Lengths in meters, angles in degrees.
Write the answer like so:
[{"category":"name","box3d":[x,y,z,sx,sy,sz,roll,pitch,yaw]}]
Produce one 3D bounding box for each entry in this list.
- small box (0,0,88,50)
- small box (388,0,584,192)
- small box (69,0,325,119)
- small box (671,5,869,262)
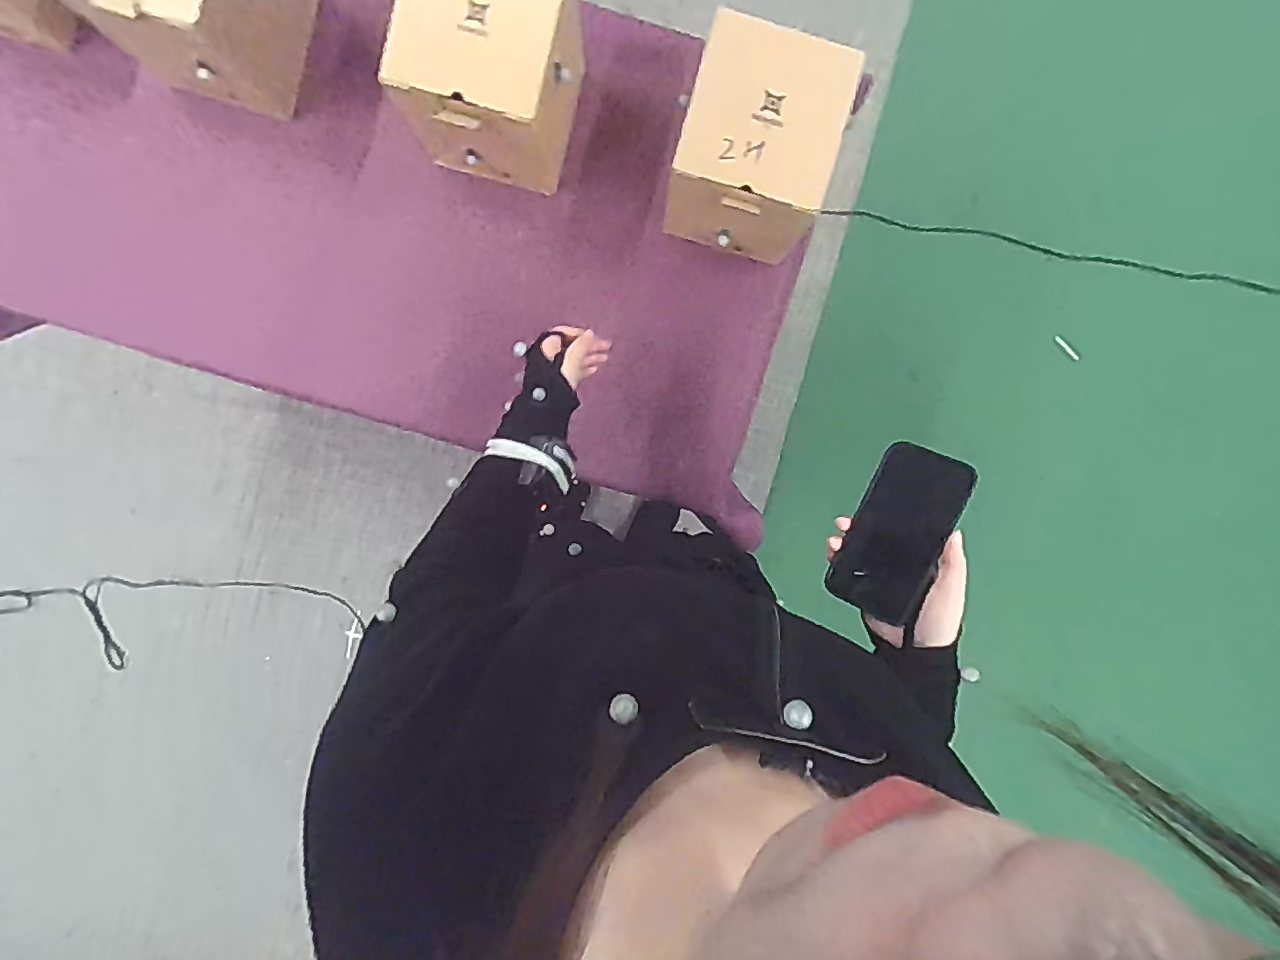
[{"category":"small box","box3d":[-0.787,-0.649,0.619,0.168,0.176,0.179,12,94,-3]},{"category":"small box","box3d":[-0.166,-0.483,0.642,0.168,0.176,0.179,14,94,-2]},{"category":"small box","box3d":[-0.505,-0.571,0.631,0.168,0.176,0.179,17,93,-3]},{"category":"small box","box3d":[0.139,-0.394,0.648,0.168,0.176,0.179,17,93,-1]}]
